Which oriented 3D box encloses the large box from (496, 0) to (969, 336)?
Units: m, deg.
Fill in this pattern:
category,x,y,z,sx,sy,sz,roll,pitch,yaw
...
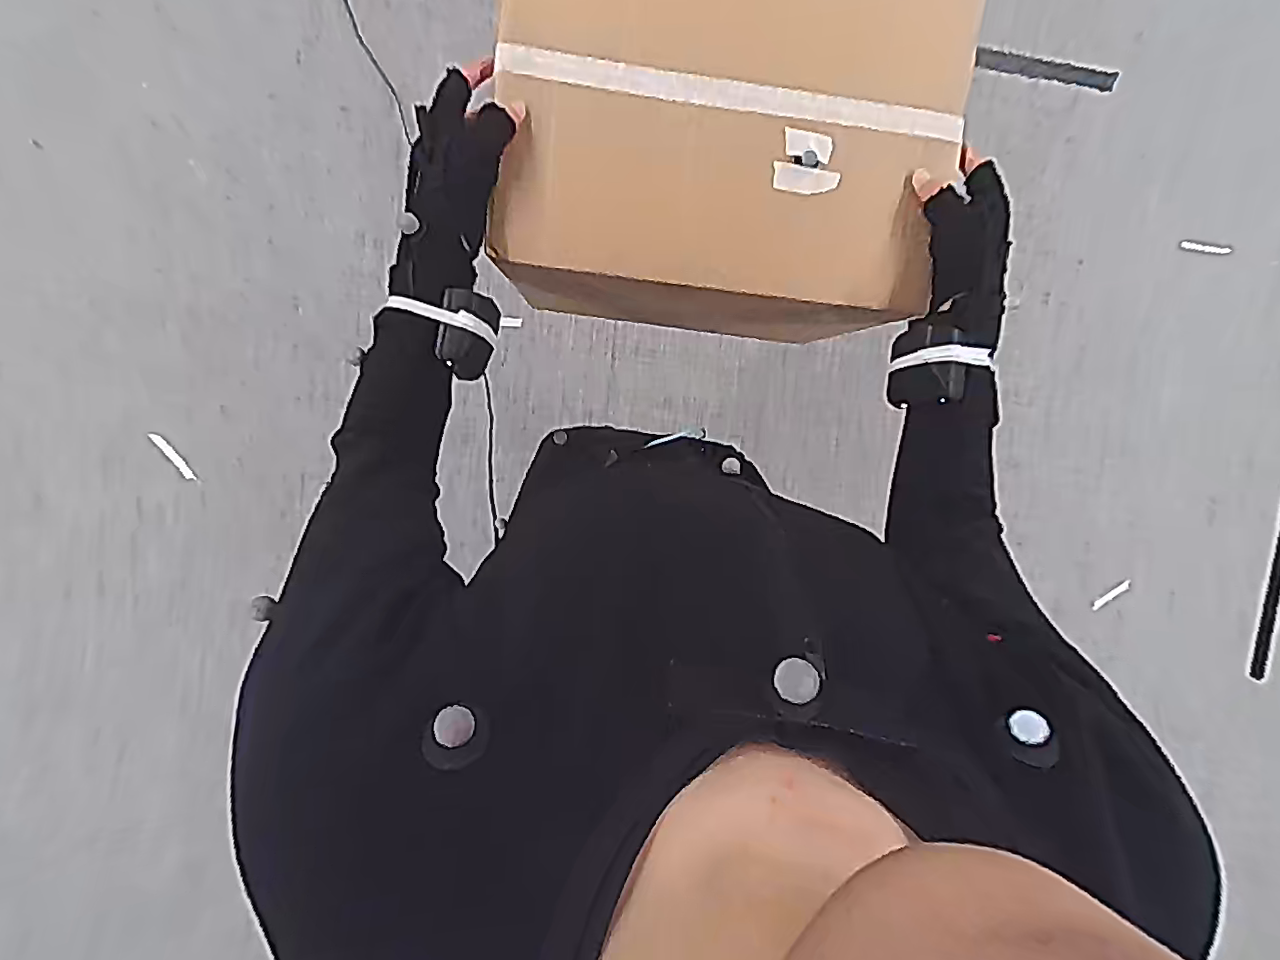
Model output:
category,x,y,z,sx,sy,sz,roll,pitch,yaw
large box,0.069,-0.356,0.620,0.408,0.320,0.320,6,100,-6
